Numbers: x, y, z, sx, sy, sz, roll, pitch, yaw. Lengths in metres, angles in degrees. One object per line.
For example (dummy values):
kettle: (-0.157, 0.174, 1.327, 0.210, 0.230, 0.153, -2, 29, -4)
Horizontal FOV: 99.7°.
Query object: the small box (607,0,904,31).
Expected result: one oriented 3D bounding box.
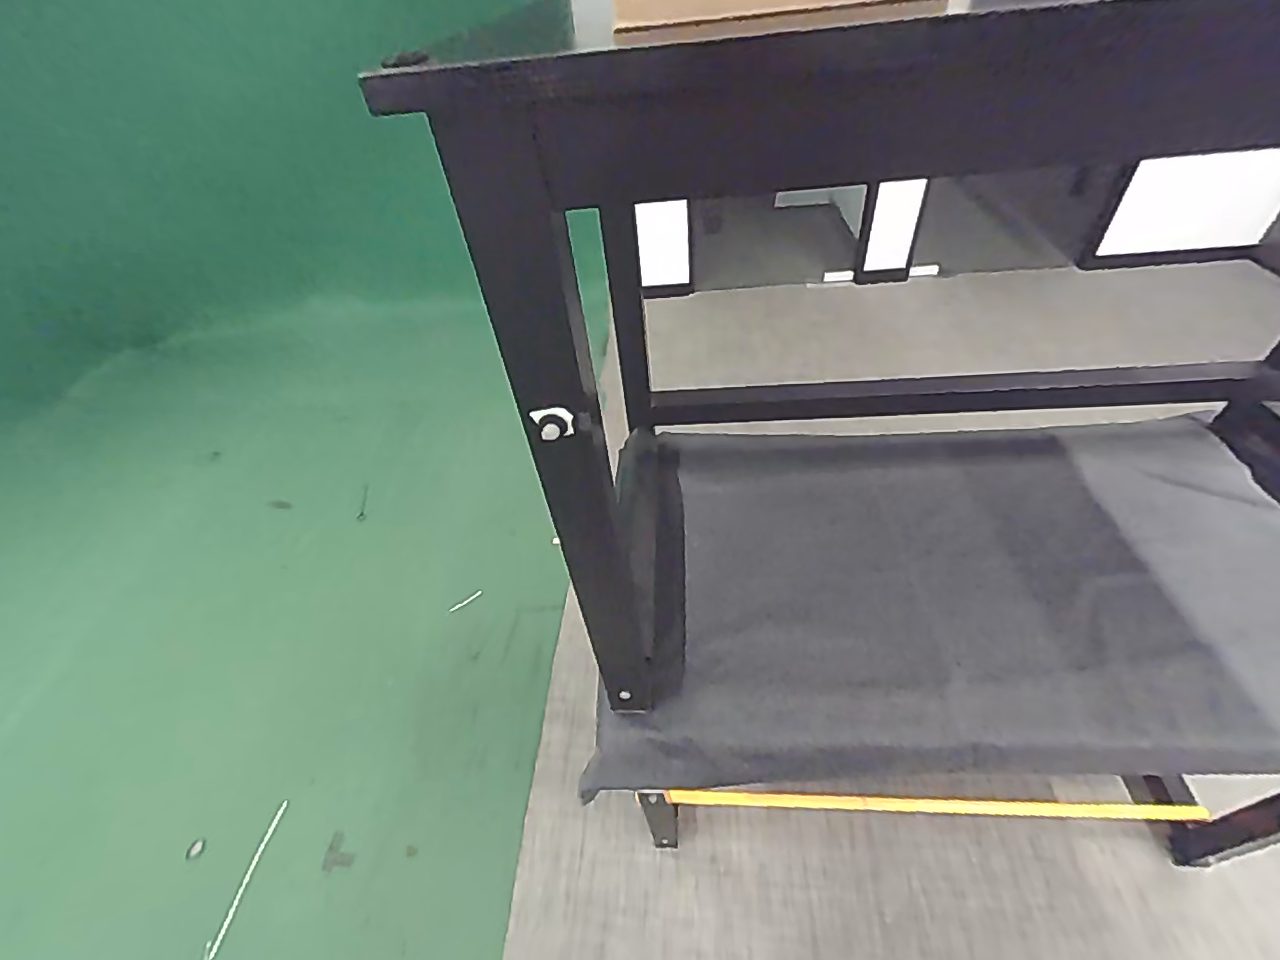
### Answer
small box: (0.062, -0.344, 0.271, 0.168, 0.176, 0.179, -1, 44, 6)
